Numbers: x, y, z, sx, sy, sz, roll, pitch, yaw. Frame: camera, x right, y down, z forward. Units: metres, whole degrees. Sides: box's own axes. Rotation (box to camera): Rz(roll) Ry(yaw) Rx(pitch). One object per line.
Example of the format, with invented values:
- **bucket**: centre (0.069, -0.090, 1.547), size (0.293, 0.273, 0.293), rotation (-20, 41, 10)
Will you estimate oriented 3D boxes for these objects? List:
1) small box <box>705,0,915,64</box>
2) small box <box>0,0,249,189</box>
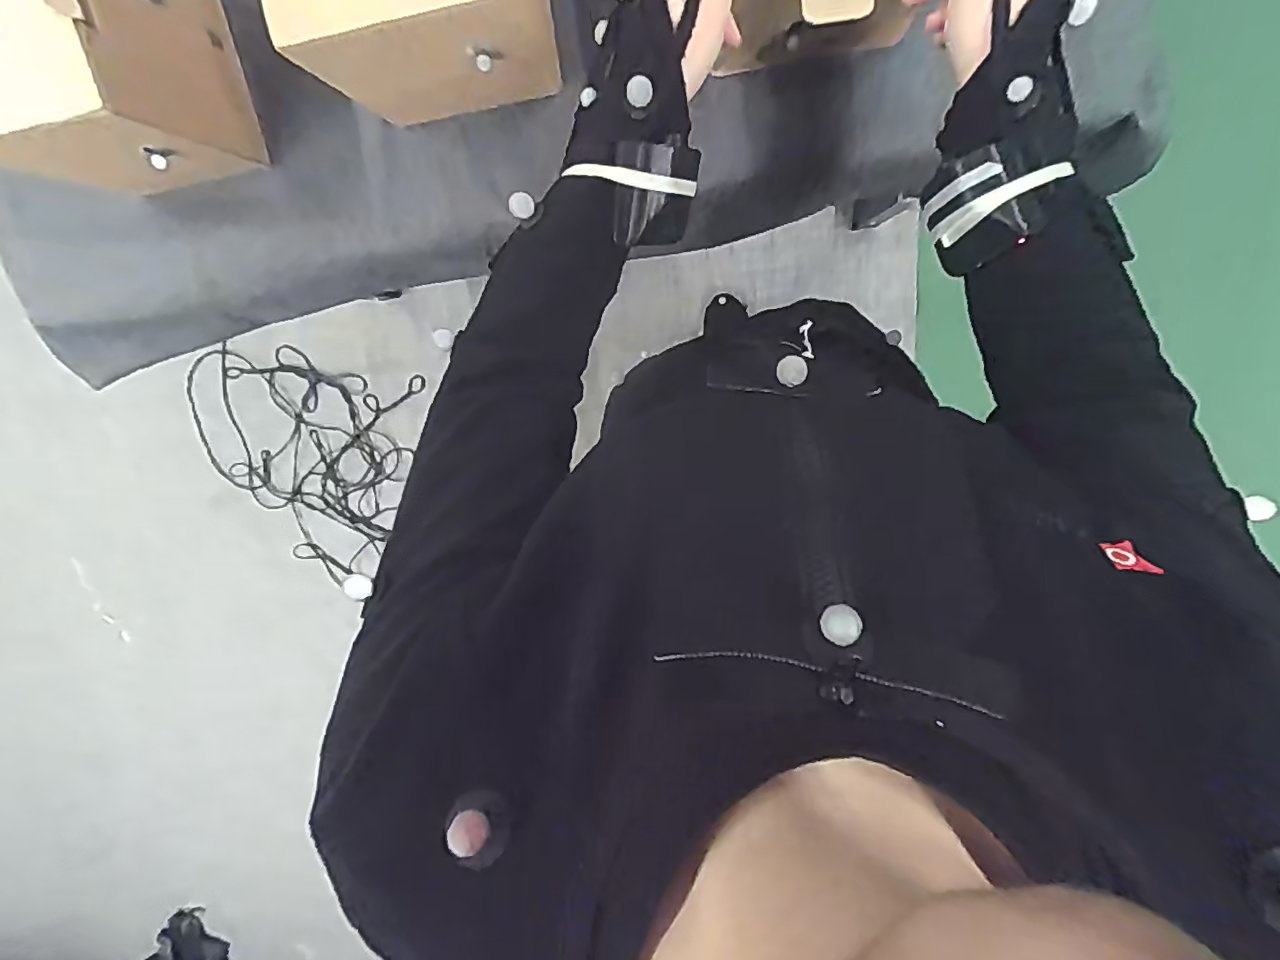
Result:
- **small box**: centre (0.126, -0.443, 0.383), size (0.168, 0.176, 0.179), rotation (-4, 107, 9)
- **small box**: centre (-0.497, -0.380, 0.483), size (0.179, 0.176, 0.168), rotation (-6, 105, 10)
